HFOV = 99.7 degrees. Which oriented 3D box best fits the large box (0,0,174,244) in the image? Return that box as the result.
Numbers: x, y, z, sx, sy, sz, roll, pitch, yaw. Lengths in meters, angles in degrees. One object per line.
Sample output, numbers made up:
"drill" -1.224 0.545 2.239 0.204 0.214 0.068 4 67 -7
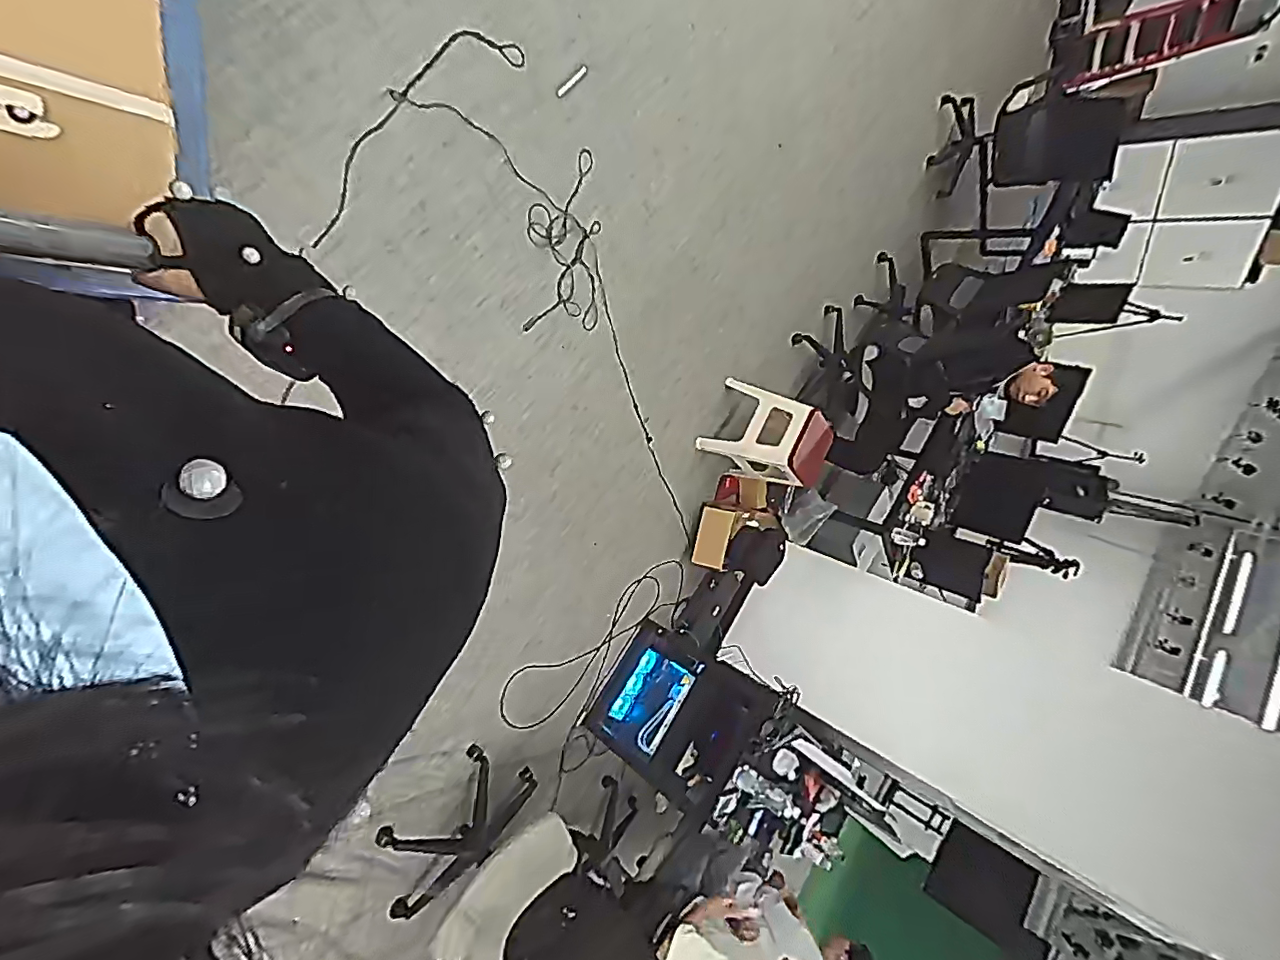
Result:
"large box" -0.877 -0.494 0.665 0.408 0.320 0.320 -9 113 -48
